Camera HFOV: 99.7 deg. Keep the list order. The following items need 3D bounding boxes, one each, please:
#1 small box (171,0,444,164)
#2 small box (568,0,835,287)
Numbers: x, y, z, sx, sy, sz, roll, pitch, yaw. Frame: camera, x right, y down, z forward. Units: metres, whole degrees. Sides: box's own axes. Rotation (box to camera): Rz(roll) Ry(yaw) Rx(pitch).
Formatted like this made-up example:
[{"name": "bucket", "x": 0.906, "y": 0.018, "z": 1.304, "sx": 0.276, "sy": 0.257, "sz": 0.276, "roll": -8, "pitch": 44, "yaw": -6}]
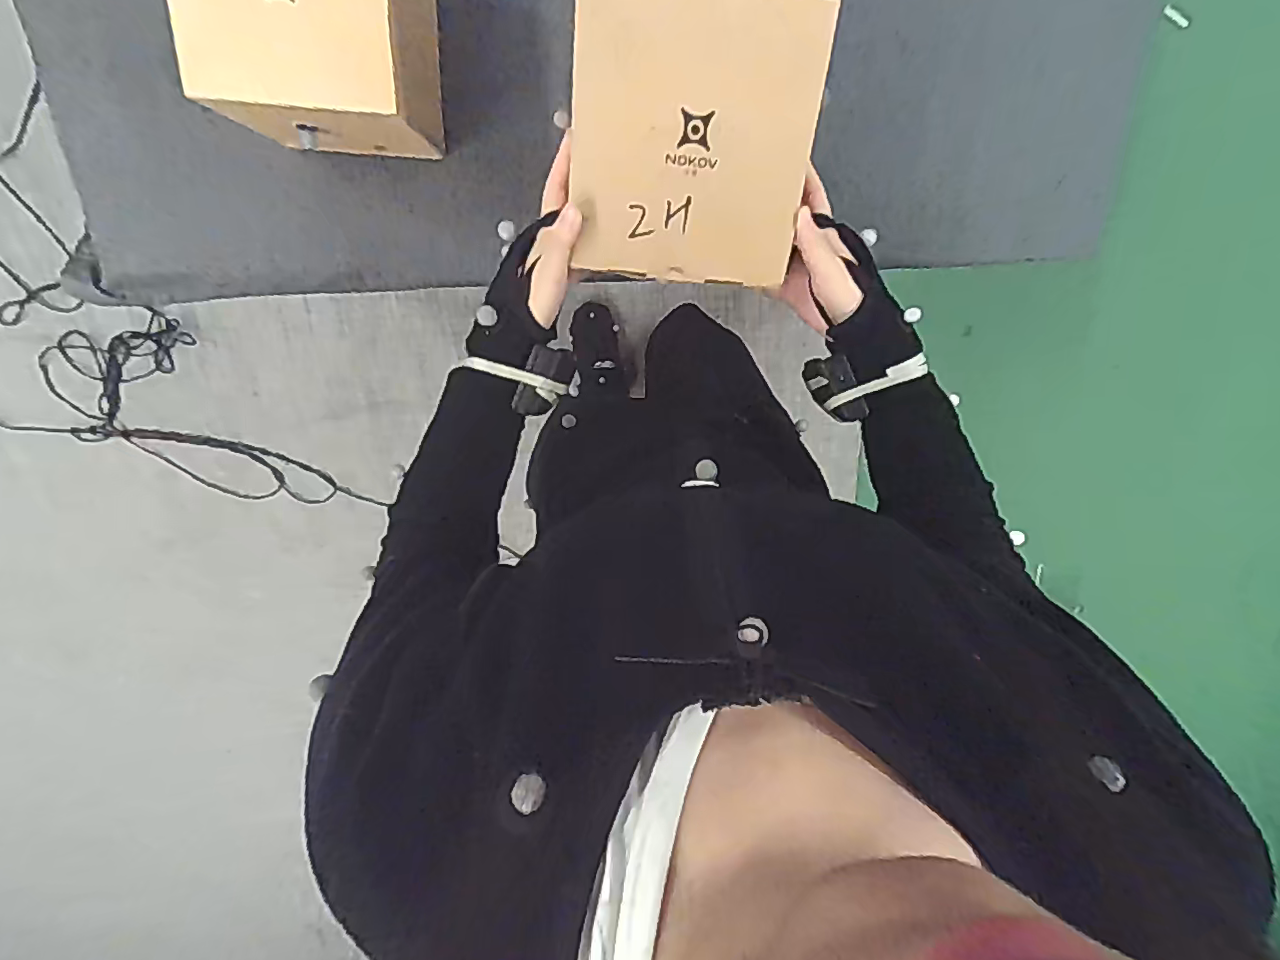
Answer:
[{"name": "small box", "x": -0.286, "y": -0.409, "z": 0.497, "sx": 0.168, "sy": 0.176, "sz": 0.179, "roll": 1, "pitch": 108, "yaw": -6}, {"name": "small box", "x": 0.032, "y": -0.266, "z": 0.443, "sx": 0.168, "sy": 0.176, "sz": 0.179, "roll": 5, "pitch": 115, "yaw": -4}]
